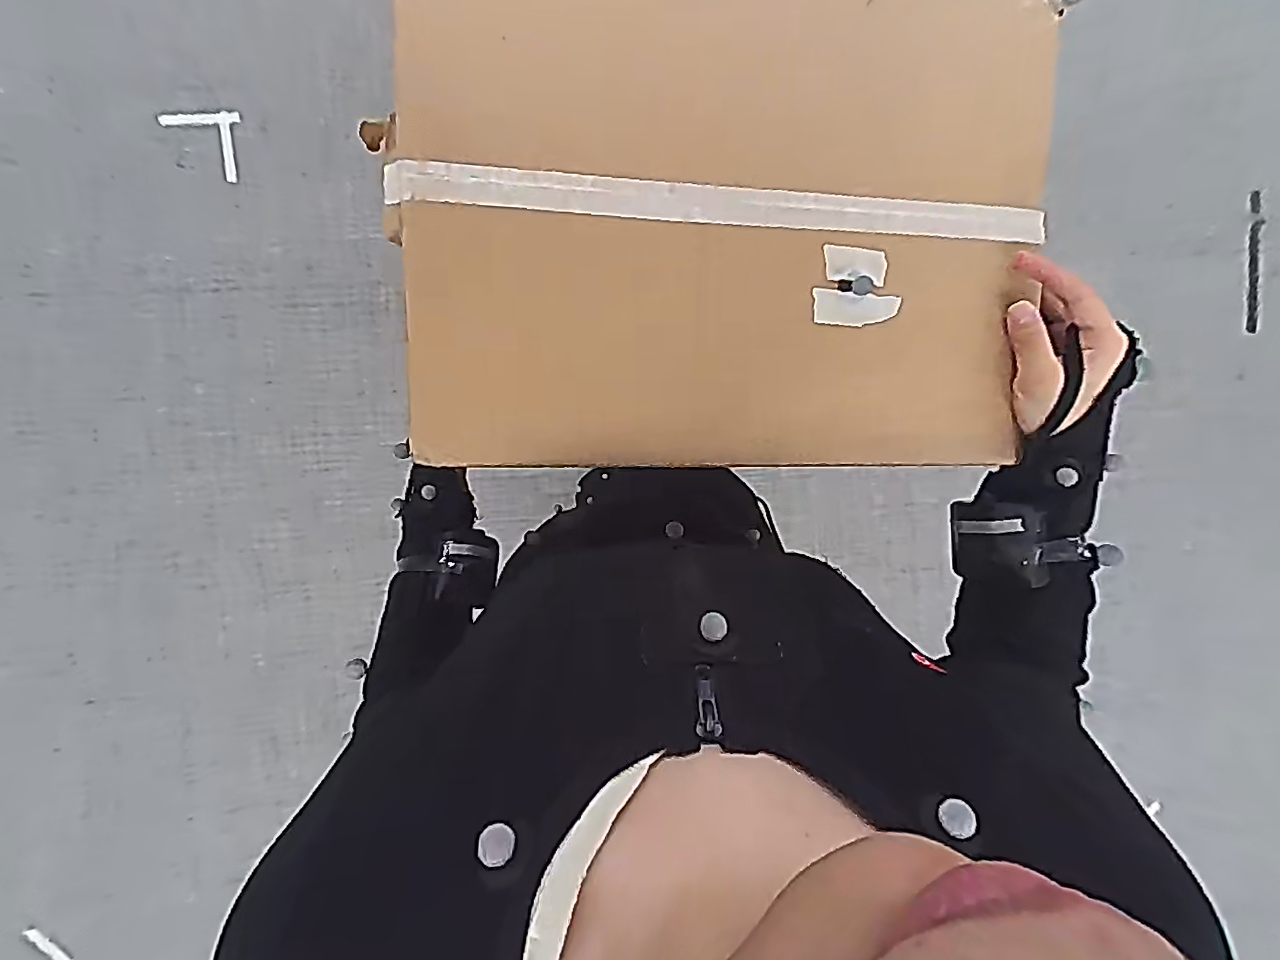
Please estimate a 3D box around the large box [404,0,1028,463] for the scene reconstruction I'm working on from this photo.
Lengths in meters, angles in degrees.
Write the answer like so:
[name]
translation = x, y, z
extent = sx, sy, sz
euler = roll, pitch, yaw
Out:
[large box]
translation = 0.039, -0.185, 0.487
extent = 0.408, 0.320, 0.320
euler = -1, 97, -10
